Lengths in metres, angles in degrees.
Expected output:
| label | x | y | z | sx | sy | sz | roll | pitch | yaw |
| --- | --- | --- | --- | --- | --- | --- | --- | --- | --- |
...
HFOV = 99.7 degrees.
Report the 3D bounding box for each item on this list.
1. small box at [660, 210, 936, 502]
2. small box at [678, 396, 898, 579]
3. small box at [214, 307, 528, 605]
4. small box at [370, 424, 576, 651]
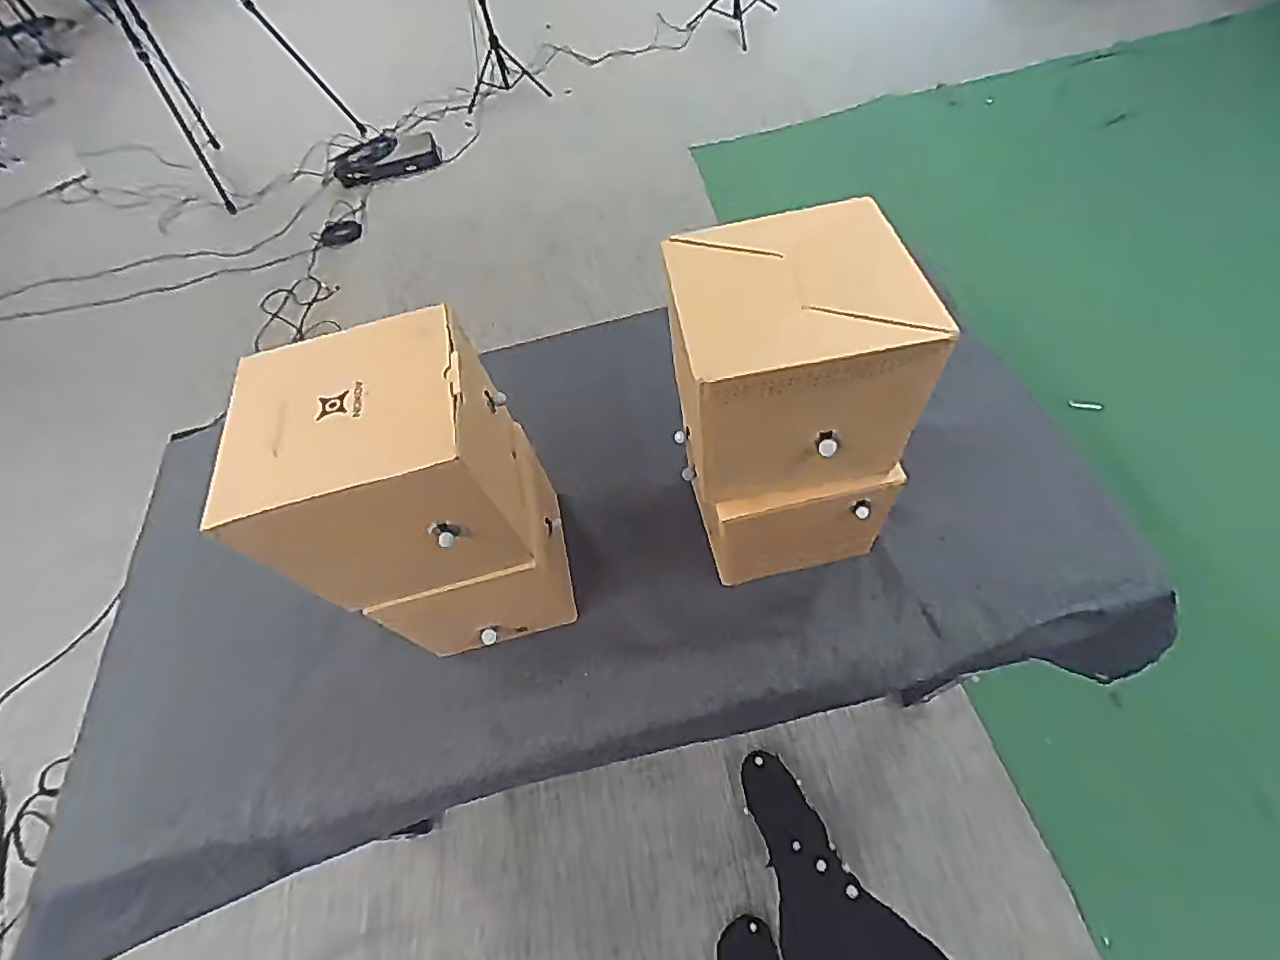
| label | x | y | z | sx | sy | sz | roll | pitch | yaw |
| --- | --- | --- | --- | --- | --- | --- | --- | --- | --- |
| small box | 0.121 | -0.104 | 0.470 | 0.179 | 0.176 | 0.168 | -10 | 57 | 3 |
| small box | 0.150 | -0.005 | 0.604 | 0.179 | 0.176 | 0.168 | -13 | 57 | 0 |
| small box | -0.206 | -0.012 | 0.468 | 0.179 | 0.176 | 0.168 | -17 | 57 | 0 |
| small box | -0.179 | 0.070 | 0.606 | 0.168 | 0.176 | 0.179 | -15 | 58 | 0 |
